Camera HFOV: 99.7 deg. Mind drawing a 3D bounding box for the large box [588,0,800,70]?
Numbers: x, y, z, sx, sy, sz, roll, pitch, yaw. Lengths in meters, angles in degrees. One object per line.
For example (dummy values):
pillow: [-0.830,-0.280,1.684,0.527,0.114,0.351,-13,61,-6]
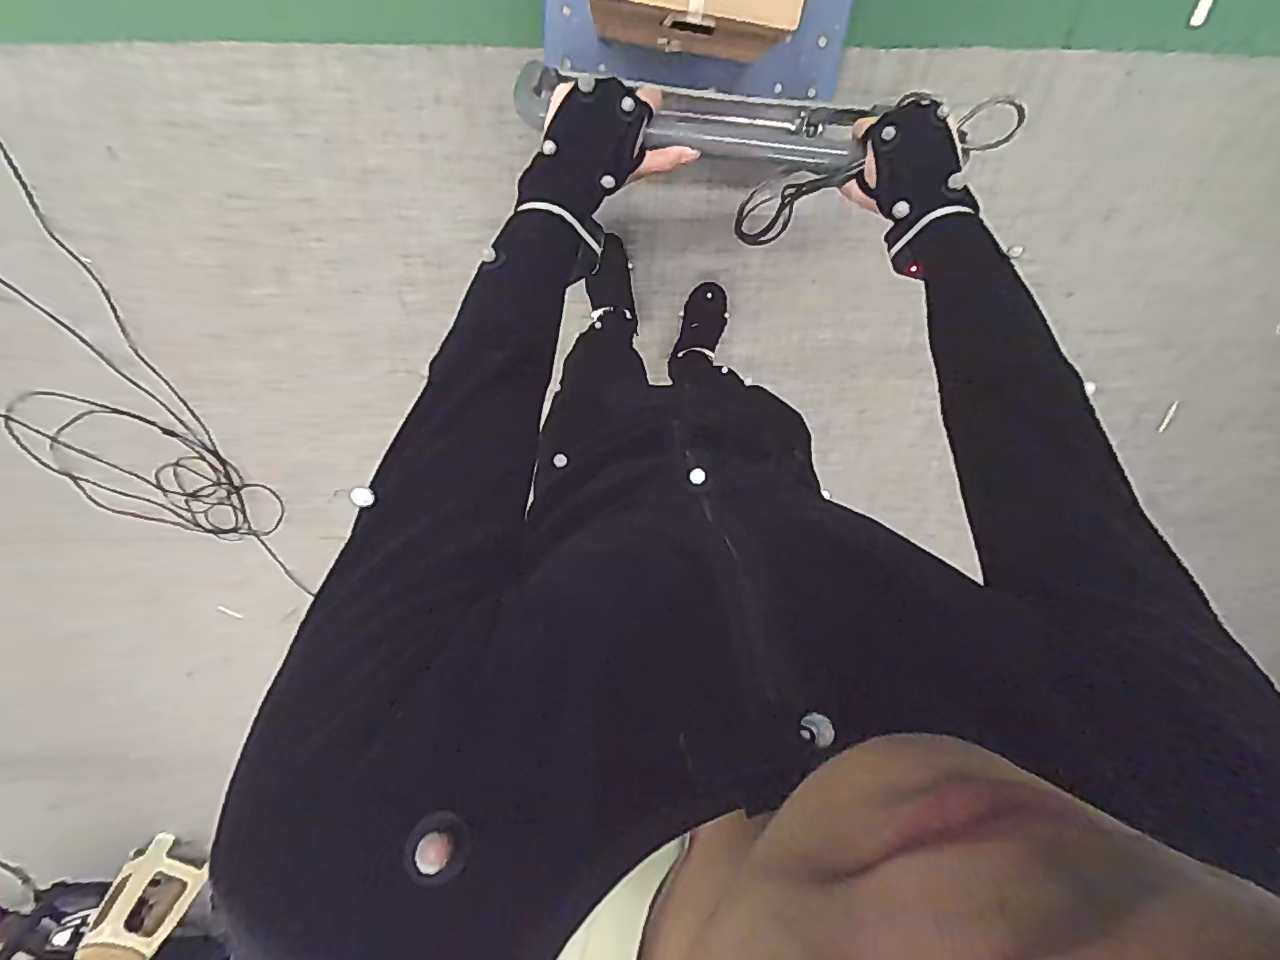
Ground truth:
large box: [0.096,-0.914,0.825,0.320,0.320,0.408,6,119,-5]
